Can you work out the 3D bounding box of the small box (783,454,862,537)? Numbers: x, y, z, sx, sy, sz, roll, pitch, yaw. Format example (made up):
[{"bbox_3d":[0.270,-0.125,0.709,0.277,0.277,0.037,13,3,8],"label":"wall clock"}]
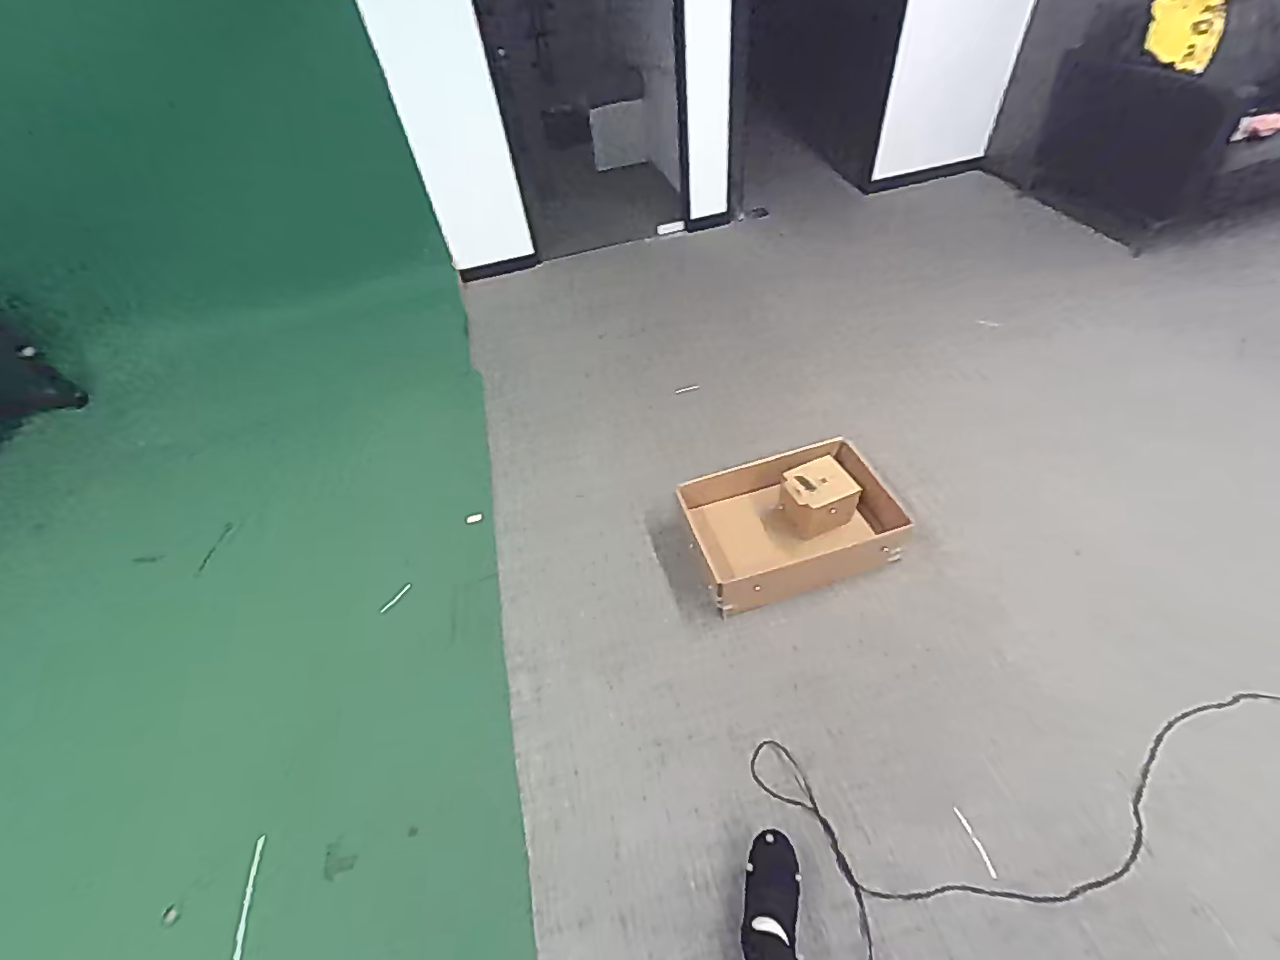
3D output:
[{"bbox_3d":[0.572,0.055,1.722,0.179,0.176,0.168,-22,50,-10],"label":"small box"}]
